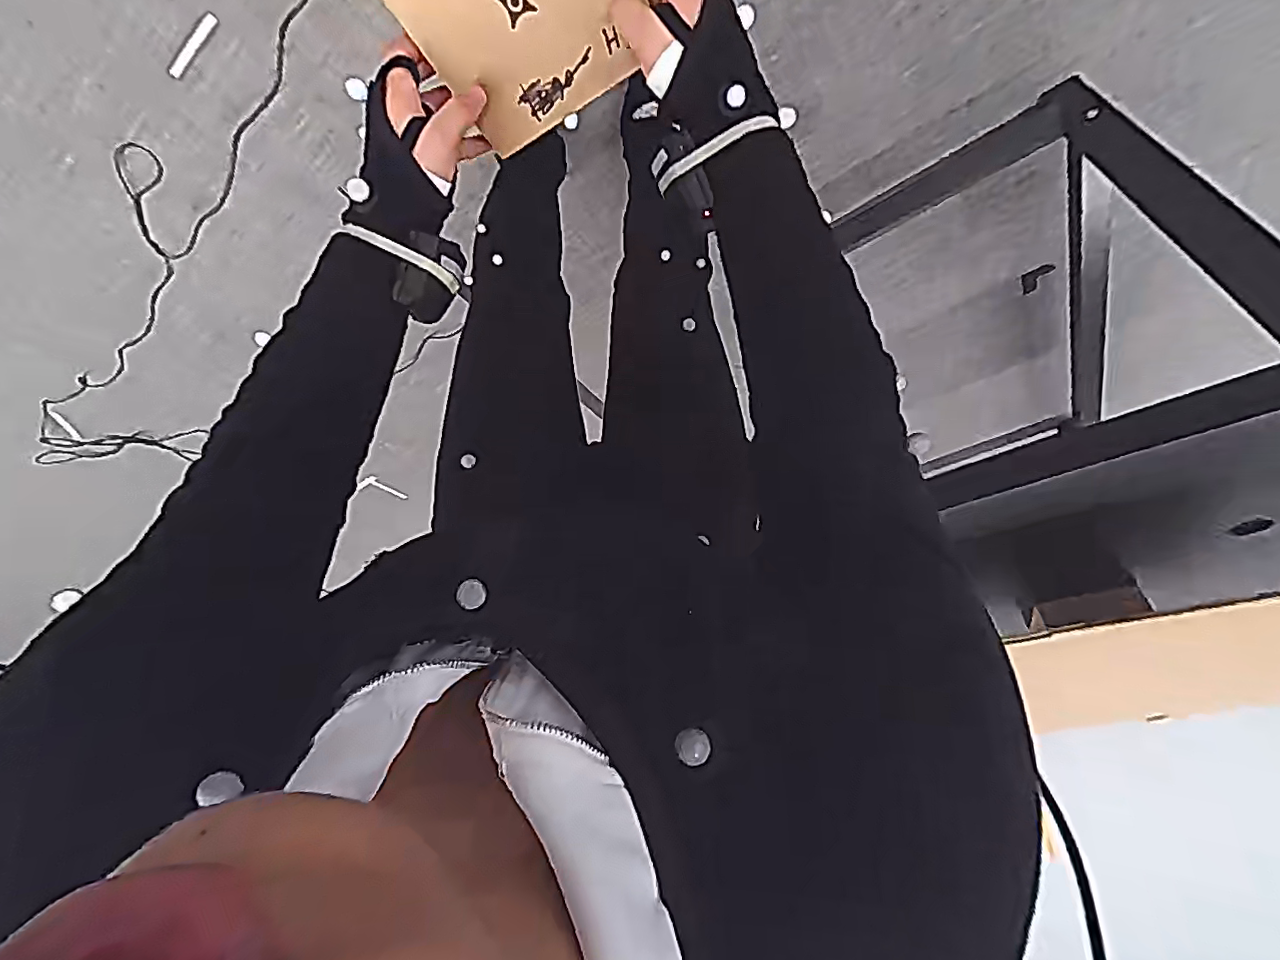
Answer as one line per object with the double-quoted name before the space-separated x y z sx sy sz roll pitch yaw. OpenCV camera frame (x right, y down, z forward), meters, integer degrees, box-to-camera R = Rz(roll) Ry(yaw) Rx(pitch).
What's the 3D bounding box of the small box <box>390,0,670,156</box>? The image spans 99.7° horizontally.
"small box" -0.087 -0.411 0.425 0.168 0.176 0.179 -17 140 26
